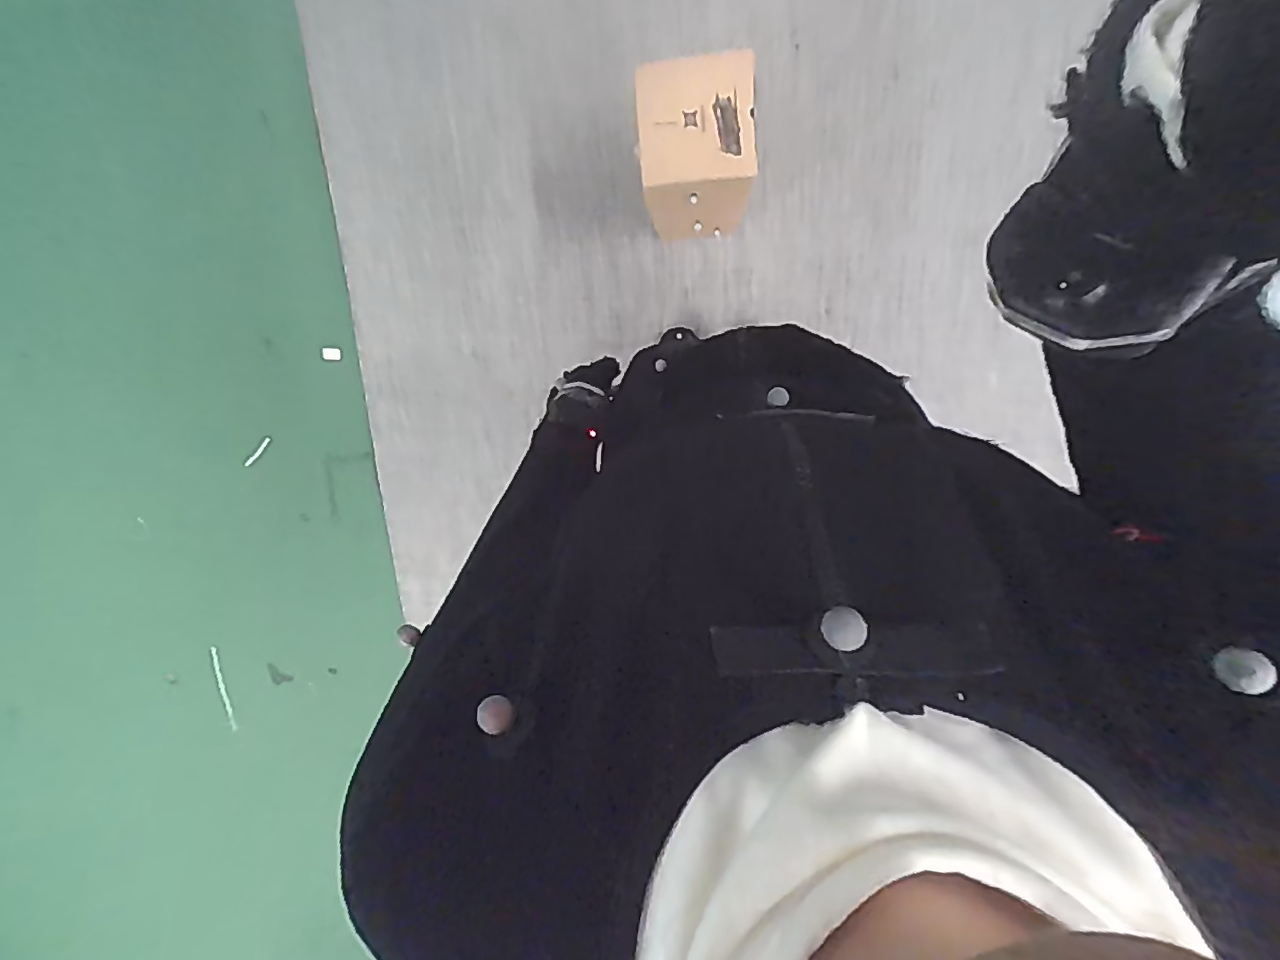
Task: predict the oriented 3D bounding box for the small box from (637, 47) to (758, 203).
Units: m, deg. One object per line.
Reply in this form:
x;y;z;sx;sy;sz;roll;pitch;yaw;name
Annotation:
0.088;-0.558;0.872;0.179;0.176;0.168;0;103;5;small box

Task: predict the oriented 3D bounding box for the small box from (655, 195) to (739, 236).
0.122;-0.645;1.190;0.179;0.176;0.168;-2;104;7;small box
